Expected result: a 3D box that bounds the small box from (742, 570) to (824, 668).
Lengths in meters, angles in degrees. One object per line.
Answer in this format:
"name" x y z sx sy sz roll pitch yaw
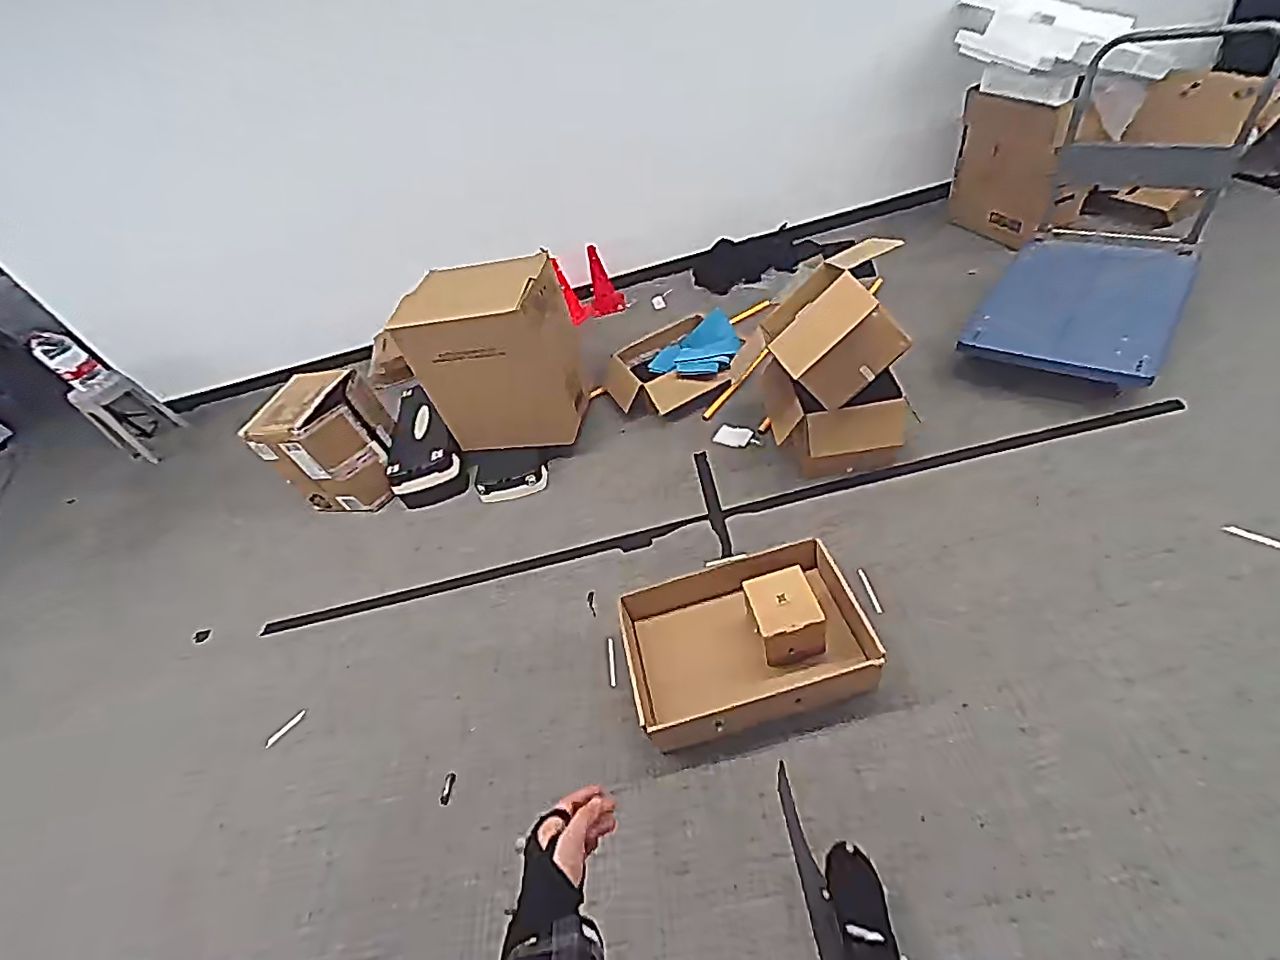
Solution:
"small box" 0.387 0.379 1.473 0.168 0.176 0.179 -17 45 1
